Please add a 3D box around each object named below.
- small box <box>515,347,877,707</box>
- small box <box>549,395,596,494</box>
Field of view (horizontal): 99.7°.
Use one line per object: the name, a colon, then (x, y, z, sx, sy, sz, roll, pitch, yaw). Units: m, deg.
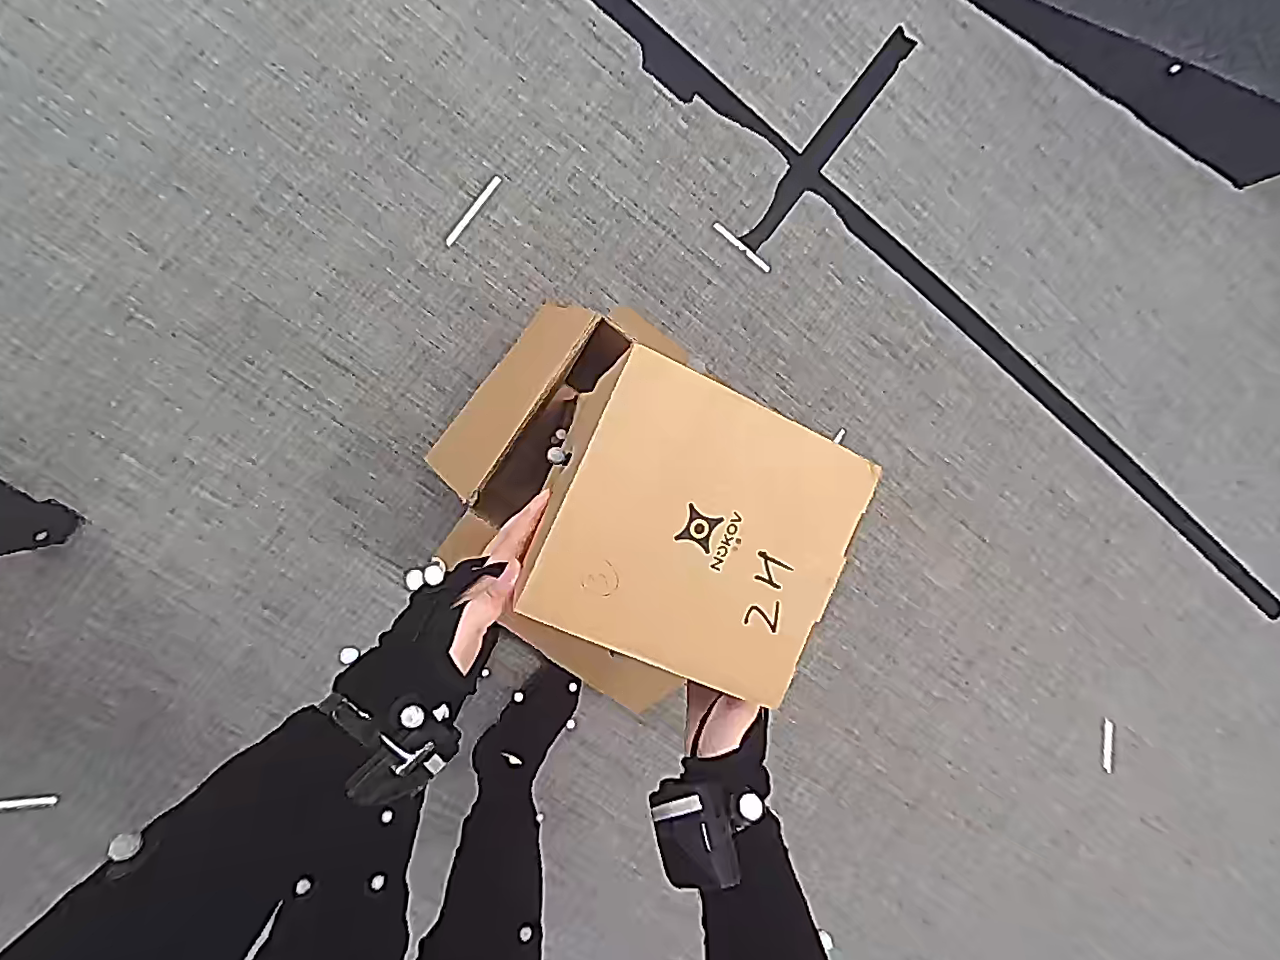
small box: (0.024, 0.028, 0.397, 0.179, 0.176, 0.168, 25, 89, -12)
small box: (-0.024, -0.014, 0.760, 0.179, 0.176, 0.168, 15, 94, -14)
